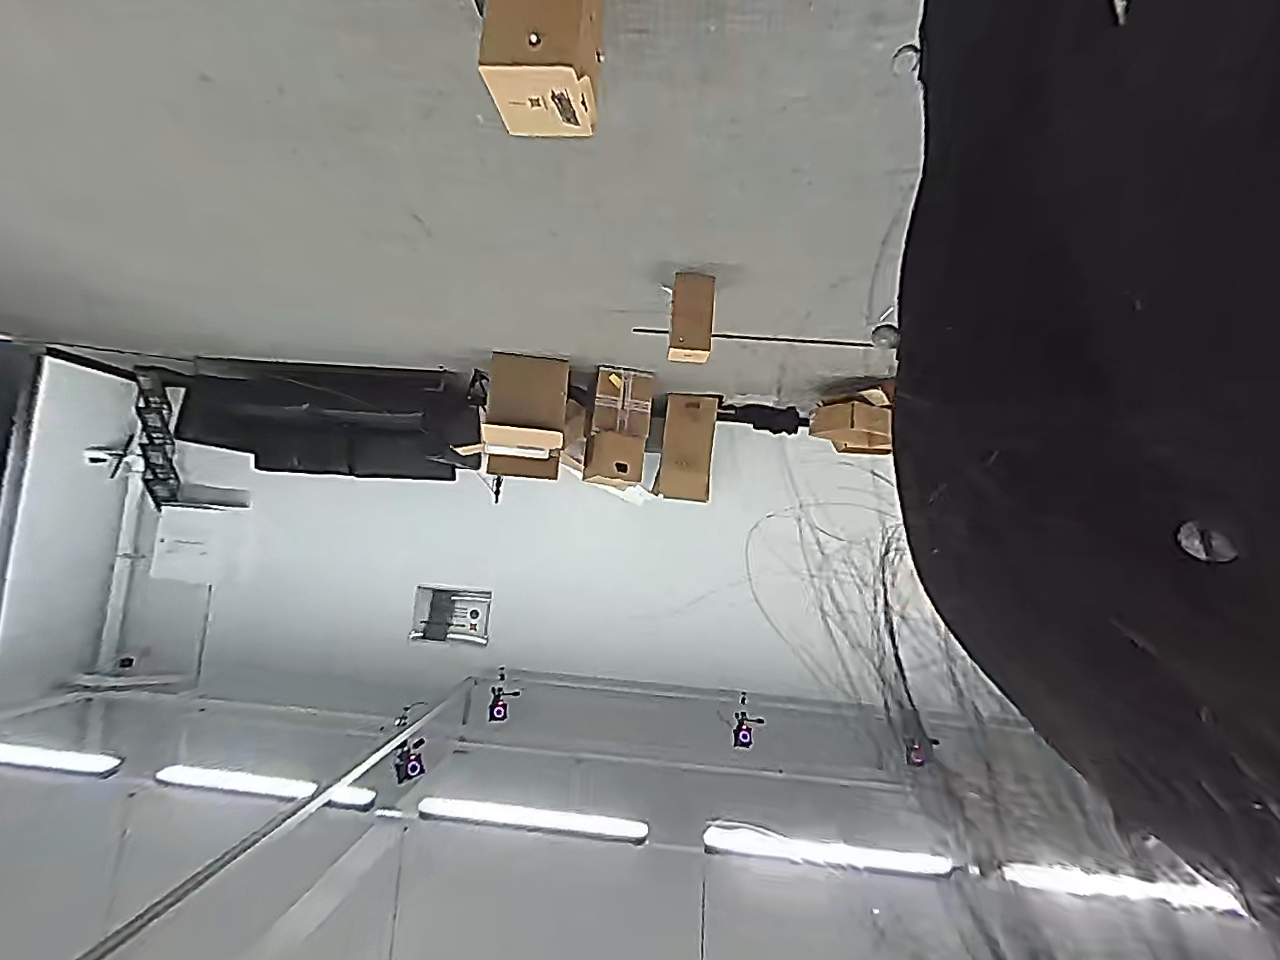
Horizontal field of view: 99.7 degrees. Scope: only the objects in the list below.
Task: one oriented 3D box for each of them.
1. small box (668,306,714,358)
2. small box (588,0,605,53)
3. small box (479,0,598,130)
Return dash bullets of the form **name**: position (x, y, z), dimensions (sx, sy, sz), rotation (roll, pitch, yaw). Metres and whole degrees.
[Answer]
- **small box**: position (0.219, -0.645, 2.354), dimensions (0.179, 0.176, 0.168), rotation (4, 176, 0)
- **small box**: position (-0.163, -0.947, 1.015), dimensions (0.179, 0.176, 0.168), rotation (5, 175, 8)
- **small box**: position (-0.177, -0.784, 0.997), dimensions (0.179, 0.176, 0.168), rotation (5, 175, 7)
